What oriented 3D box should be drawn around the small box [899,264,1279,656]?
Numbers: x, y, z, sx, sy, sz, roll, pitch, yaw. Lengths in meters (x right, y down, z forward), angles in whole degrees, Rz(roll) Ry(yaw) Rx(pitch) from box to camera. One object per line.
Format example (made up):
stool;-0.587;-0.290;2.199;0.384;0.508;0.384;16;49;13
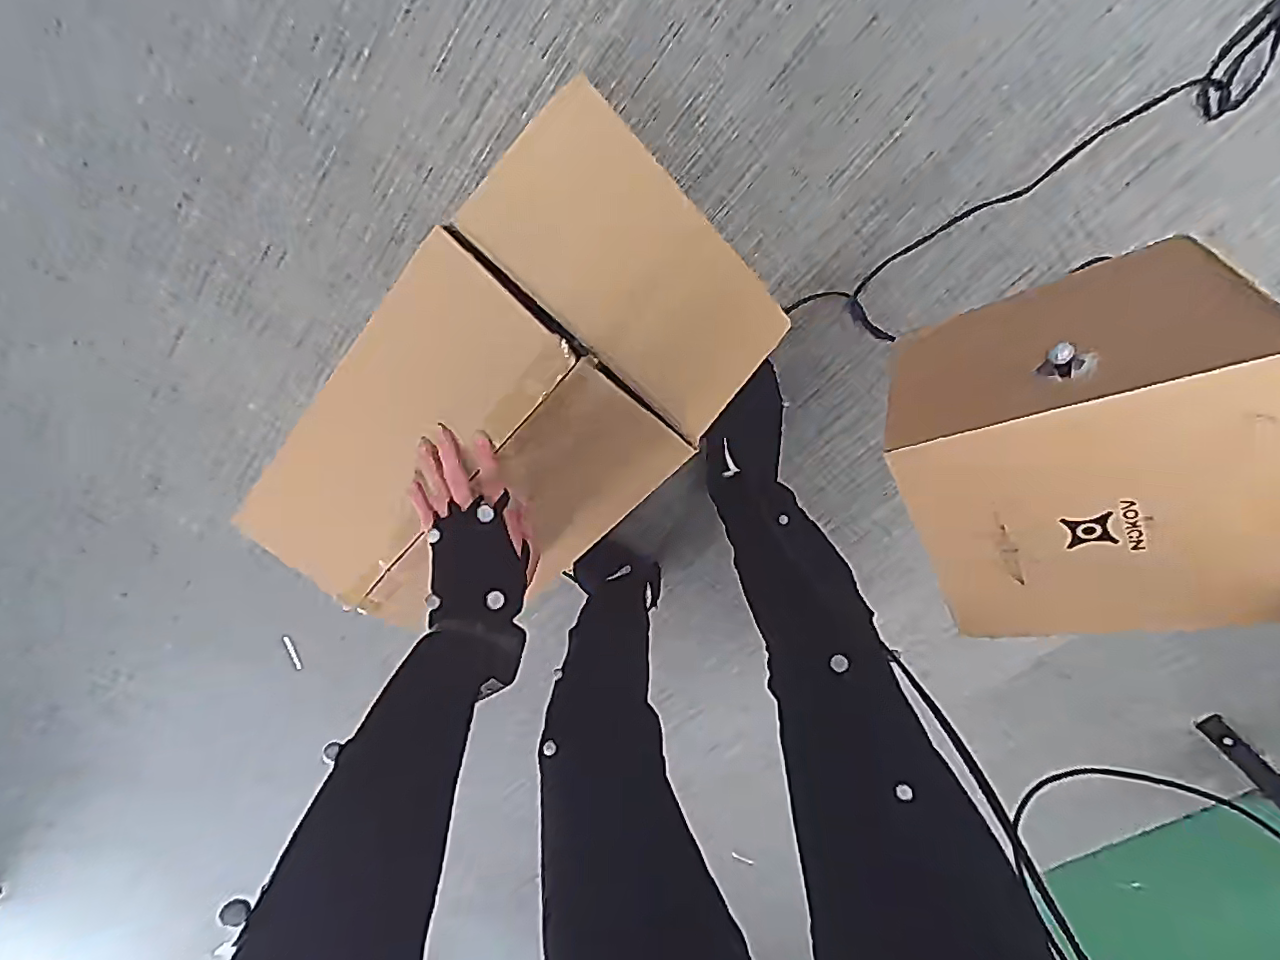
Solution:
small box;0.277;-0.011;0.343;0.179;0.176;0.168;-13;117;34
